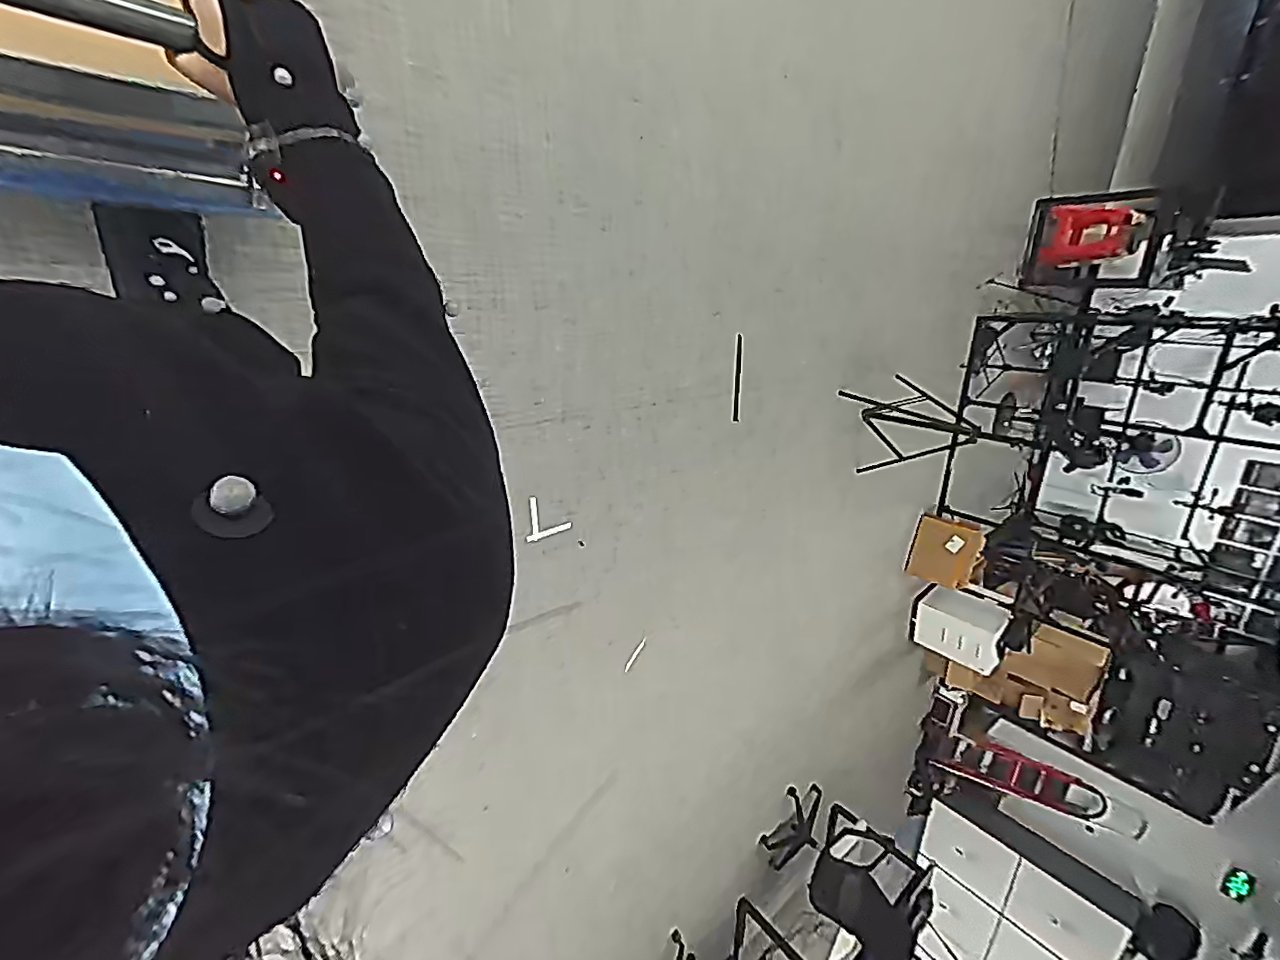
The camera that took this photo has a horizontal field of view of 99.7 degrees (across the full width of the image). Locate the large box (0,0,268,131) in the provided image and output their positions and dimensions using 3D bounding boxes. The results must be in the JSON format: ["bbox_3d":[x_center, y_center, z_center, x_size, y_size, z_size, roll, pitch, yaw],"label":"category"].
[{"bbox_3d":[-0.774,-0.685,0.697,0.408,0.320,0.320,-17,116,-39],"label":"large box"}]
